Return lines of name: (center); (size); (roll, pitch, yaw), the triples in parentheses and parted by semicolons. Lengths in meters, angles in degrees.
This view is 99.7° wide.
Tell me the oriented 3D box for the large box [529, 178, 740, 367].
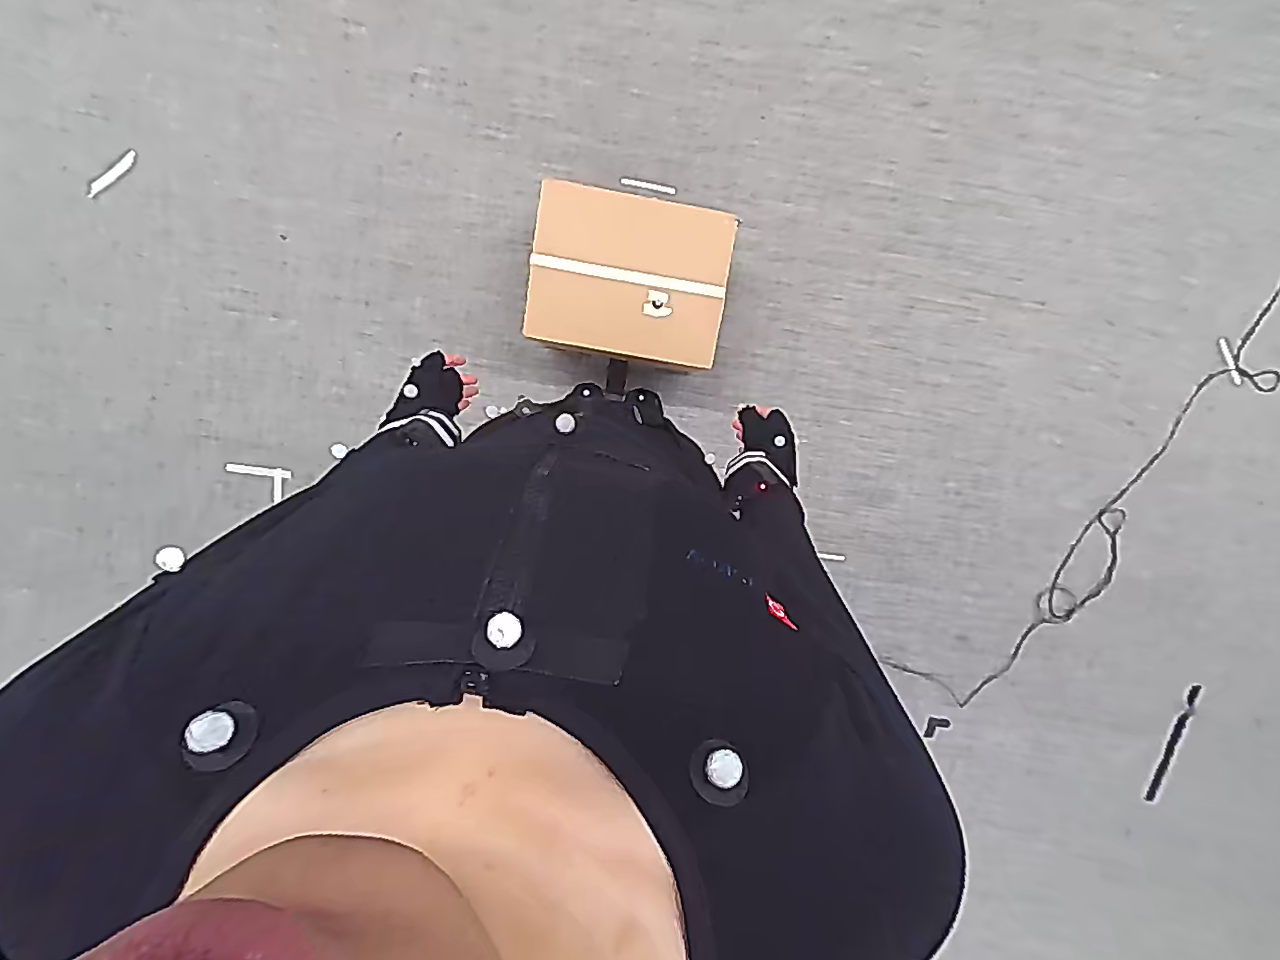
large box: (-0.021, -0.450, 1.253); (0.408, 0.320, 0.320); (9, 100, -4)
